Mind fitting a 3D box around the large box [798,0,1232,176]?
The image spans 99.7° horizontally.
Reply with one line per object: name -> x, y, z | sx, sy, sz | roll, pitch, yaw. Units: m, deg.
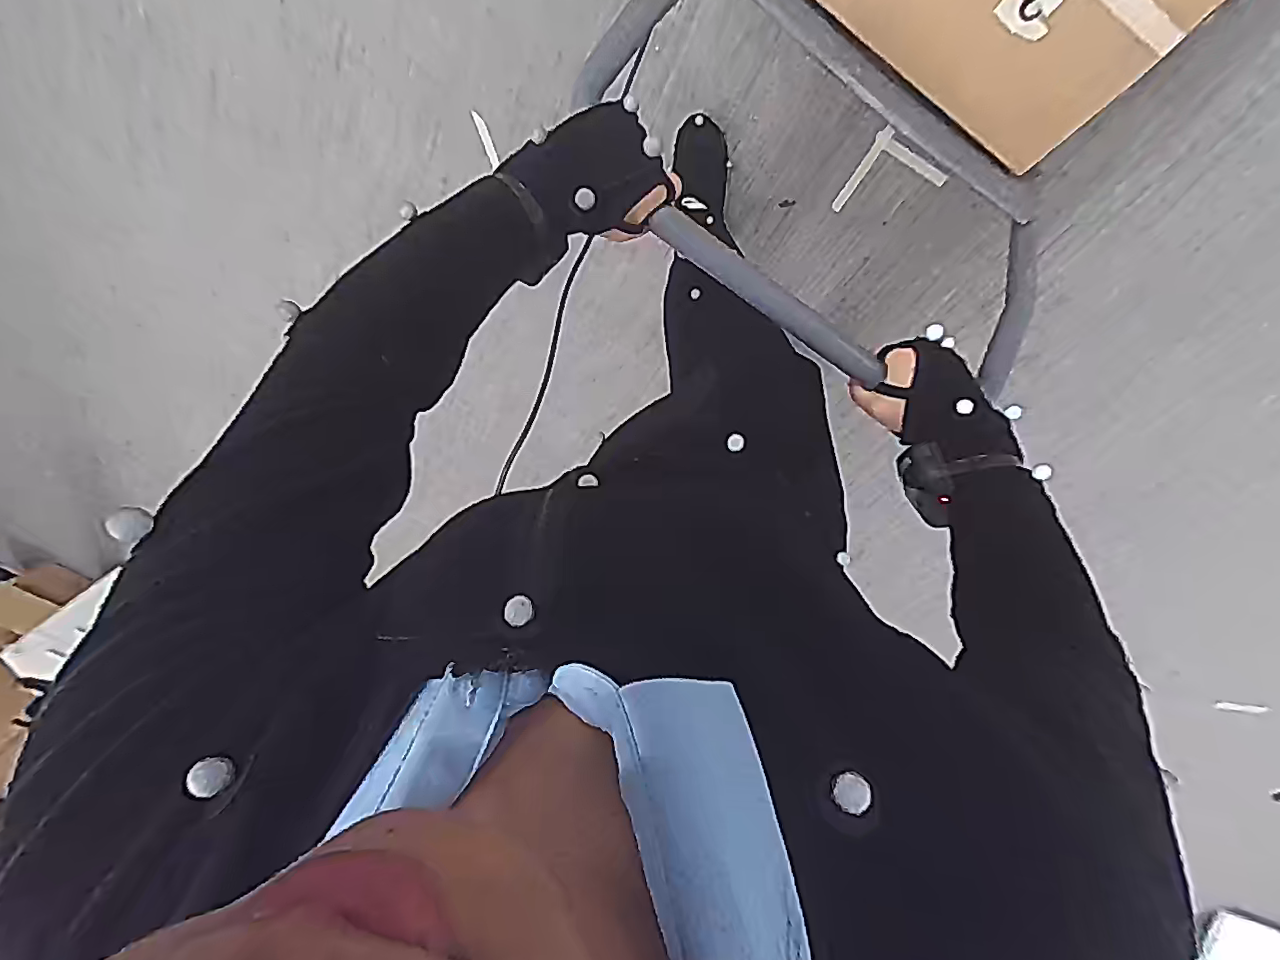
large box -> 0.410, -0.640, 0.582 | 0.408, 0.320, 0.320 | 31, 148, -10
